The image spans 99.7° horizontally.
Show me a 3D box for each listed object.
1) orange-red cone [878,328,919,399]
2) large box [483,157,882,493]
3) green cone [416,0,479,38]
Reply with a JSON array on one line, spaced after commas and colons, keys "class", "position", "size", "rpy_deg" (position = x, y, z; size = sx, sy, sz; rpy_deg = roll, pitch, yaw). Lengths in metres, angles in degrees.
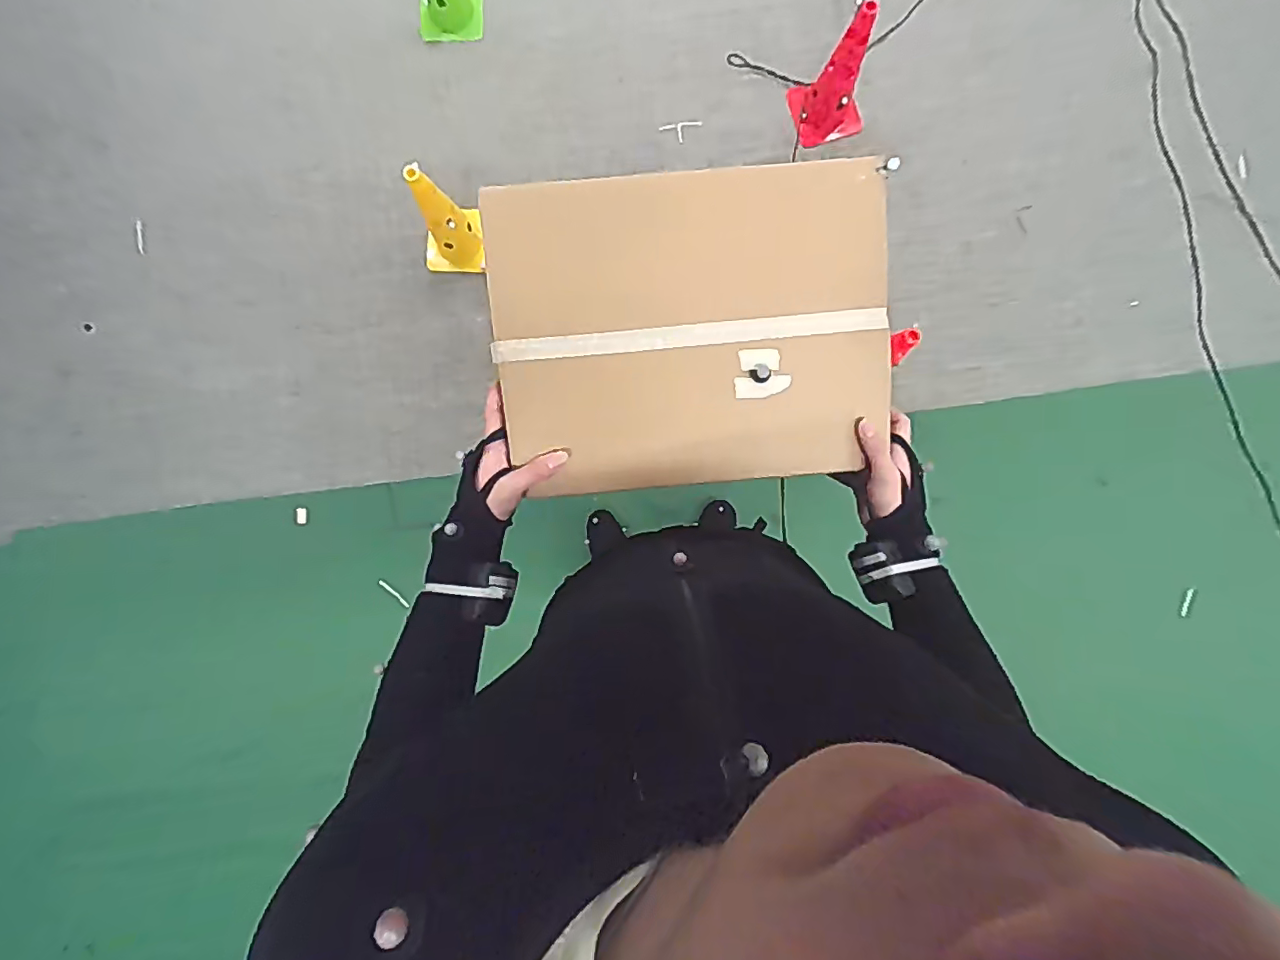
[{"class": "orange-red cone", "position": [0.658, -0.348, 1.483], "size": [0.199, 0.360, 0.198], "rpy_deg": [0, 89, -1]}, {"class": "large box", "position": [0.046, -0.178, 0.711], "size": [0.408, 0.320, 0.320], "rpy_deg": [-5, 100, -2]}, {"class": "green cone", "position": [-0.615, -1.508, 1.544], "size": [0.200, 0.368, 0.202], "rpy_deg": [-2, 89, 1]}]
